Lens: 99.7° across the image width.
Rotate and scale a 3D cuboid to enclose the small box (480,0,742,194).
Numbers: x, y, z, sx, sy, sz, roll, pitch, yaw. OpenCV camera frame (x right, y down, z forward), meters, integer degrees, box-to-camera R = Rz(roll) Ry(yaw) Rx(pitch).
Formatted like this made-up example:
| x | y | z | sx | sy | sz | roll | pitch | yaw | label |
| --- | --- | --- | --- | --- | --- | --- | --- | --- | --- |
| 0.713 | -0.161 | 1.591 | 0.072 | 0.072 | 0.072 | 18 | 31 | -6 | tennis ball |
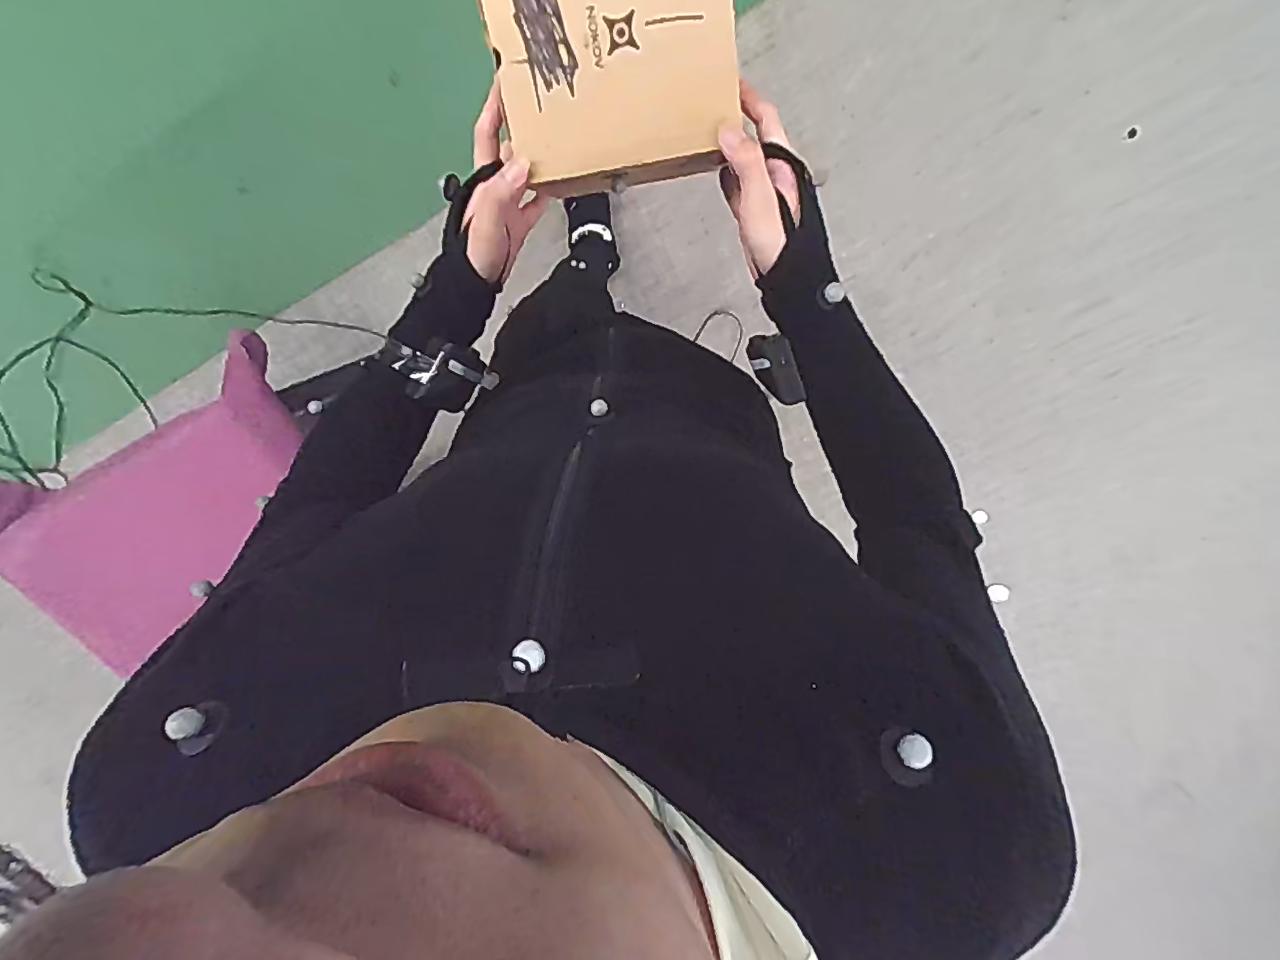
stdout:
| x | y | z | sx | sy | sz | roll | pitch | yaw | label |
| --- | --- | --- | --- | --- | --- | --- | --- | --- | --- |
| -0.016 | -0.346 | 0.450 | 0.179 | 0.176 | 0.168 | -7 | 114 | 6 | small box |
